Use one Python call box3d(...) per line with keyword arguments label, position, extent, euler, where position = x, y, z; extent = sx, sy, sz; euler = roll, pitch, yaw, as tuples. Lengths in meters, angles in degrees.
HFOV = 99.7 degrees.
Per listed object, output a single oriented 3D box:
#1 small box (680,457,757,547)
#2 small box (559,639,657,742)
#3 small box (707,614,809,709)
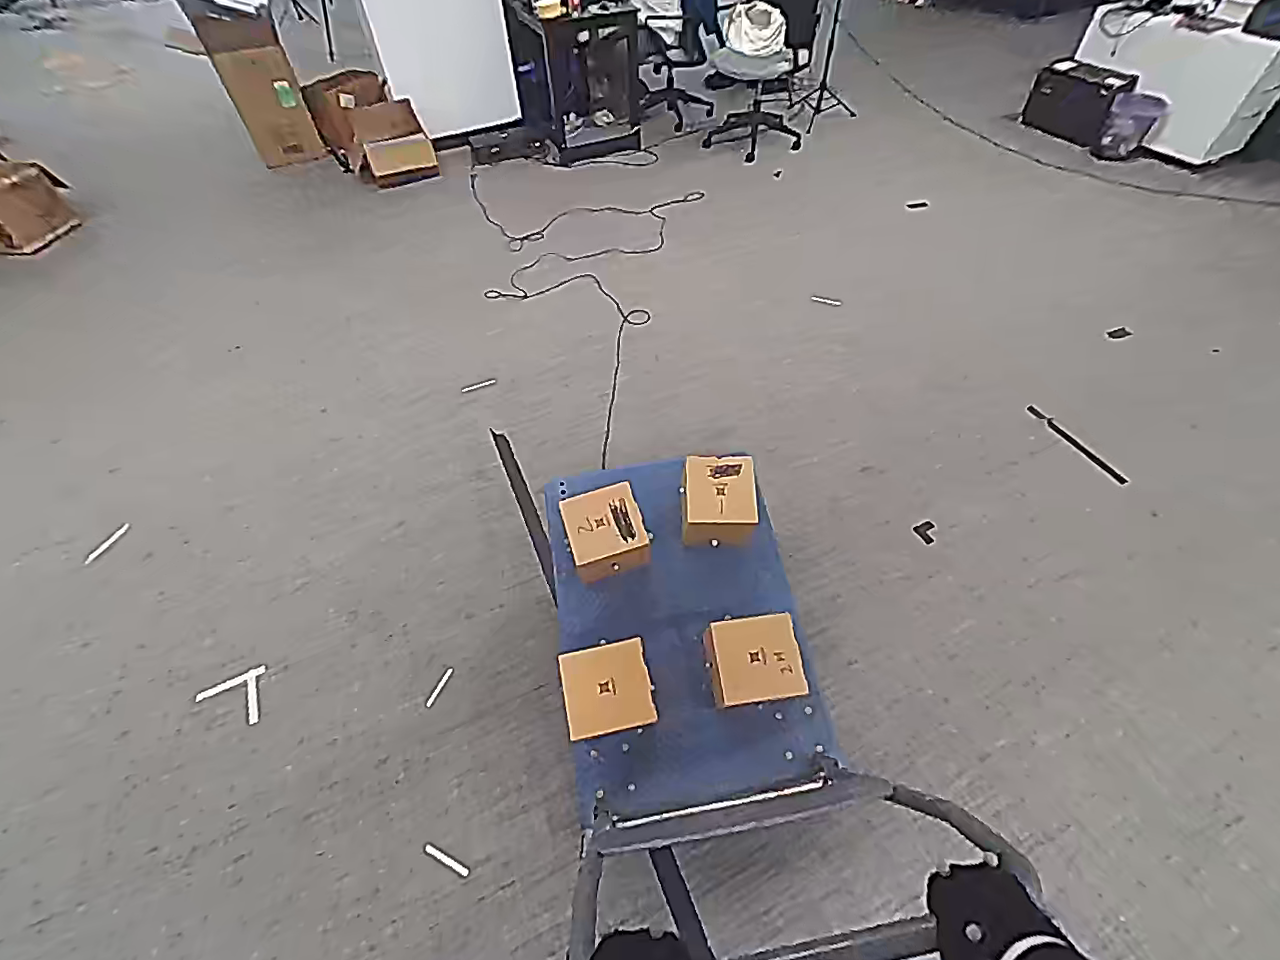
box3d(label="small box", position=(0.190, 0.057, 1.348), extent=(0.168, 0.176, 0.179), euler=(0, 65, 0))
box3d(label="small box", position=(-0.066, 0.456, 1.157), extent=(0.179, 0.176, 0.168), euler=(-11, 65, -7))
box3d(label="small box", position=(0.245, 0.401, 1.182), extent=(0.179, 0.176, 0.168), euler=(-7, 65, -3))
